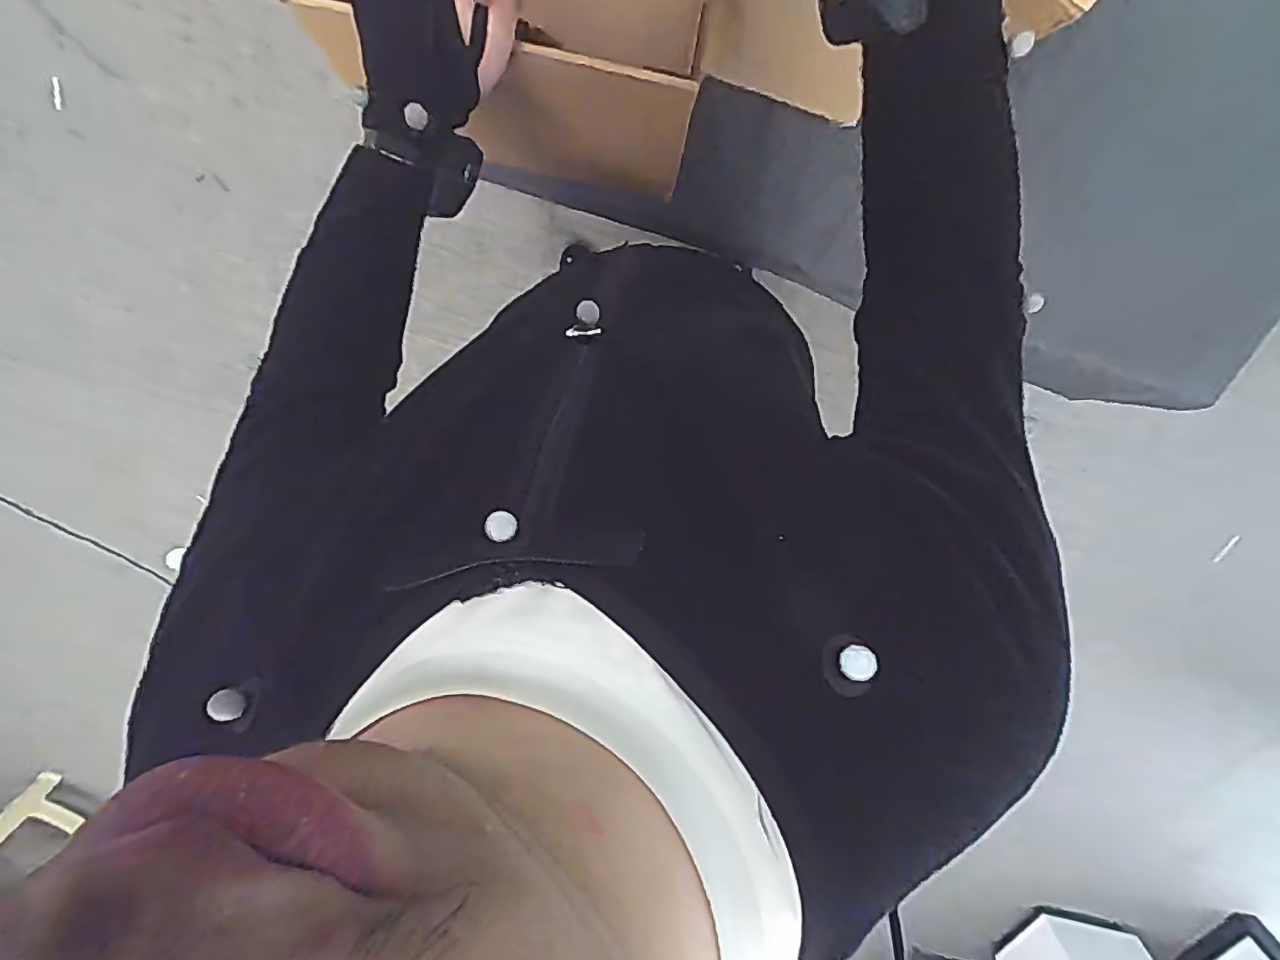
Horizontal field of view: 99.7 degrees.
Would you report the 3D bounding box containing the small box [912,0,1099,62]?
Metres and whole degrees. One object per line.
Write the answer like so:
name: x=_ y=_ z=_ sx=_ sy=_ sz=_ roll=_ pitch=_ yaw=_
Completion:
small box: x=0.377 y=-0.551 z=0.515 sx=0.168 sy=0.176 sz=0.179 roll=28 pitch=111 yaw=-13
